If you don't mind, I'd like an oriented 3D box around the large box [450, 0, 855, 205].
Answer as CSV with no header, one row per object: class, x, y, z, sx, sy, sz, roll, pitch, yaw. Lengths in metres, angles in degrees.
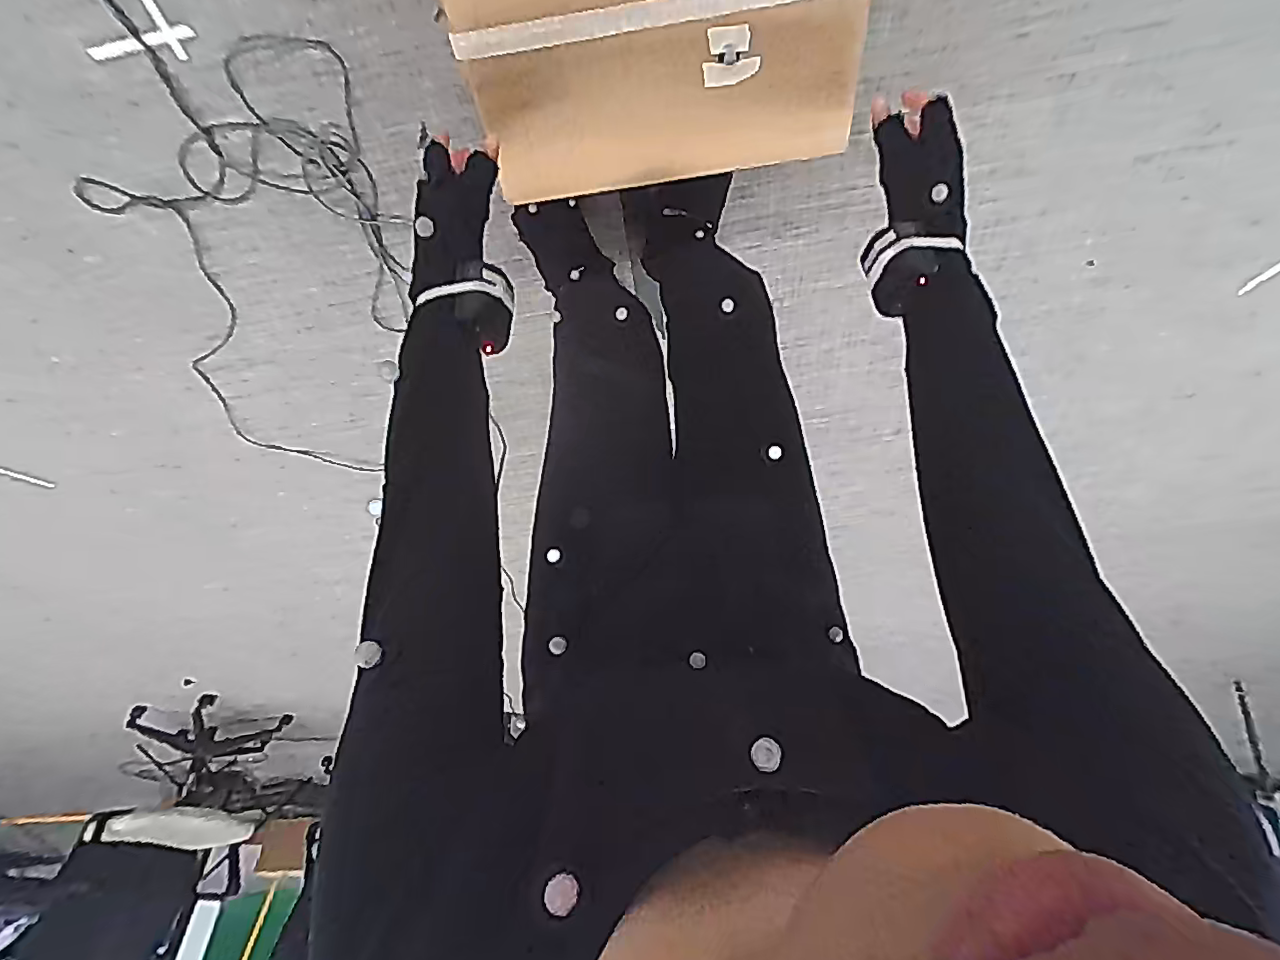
large box,0.005,-0.575,0.637,0.408,0.320,0.320,-8,139,3
